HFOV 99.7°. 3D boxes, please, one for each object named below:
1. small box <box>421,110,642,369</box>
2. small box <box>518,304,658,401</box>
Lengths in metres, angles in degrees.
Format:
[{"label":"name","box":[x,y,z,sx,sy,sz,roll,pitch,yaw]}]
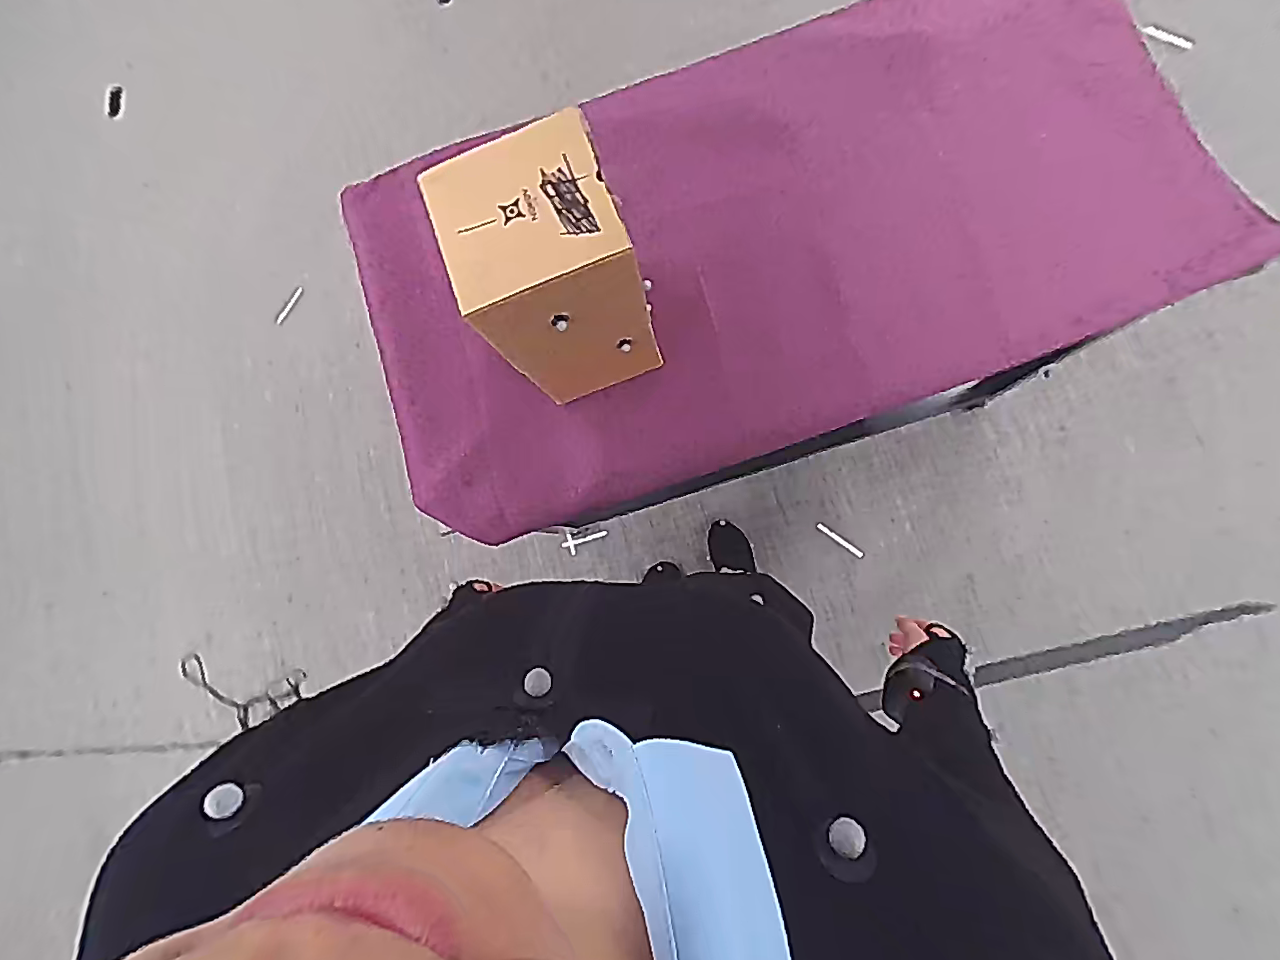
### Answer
[{"label":"small box","box":[-0.104,-0.248,0.600,0.179,0.176,0.168,-21,80,4]},{"label":"small box","box":[-0.086,-0.230,0.762,0.179,0.176,0.168,-21,80,4]}]
